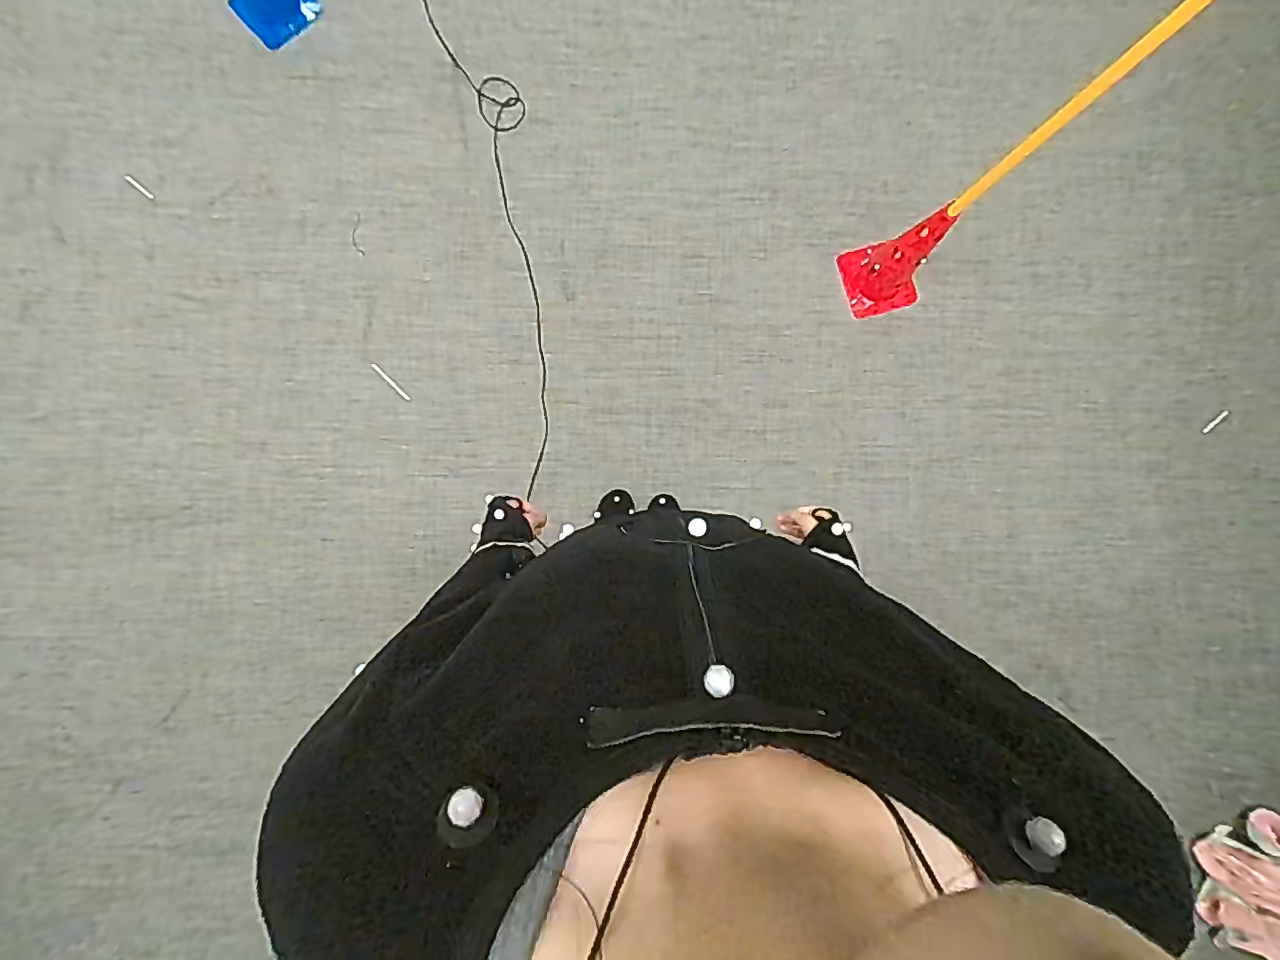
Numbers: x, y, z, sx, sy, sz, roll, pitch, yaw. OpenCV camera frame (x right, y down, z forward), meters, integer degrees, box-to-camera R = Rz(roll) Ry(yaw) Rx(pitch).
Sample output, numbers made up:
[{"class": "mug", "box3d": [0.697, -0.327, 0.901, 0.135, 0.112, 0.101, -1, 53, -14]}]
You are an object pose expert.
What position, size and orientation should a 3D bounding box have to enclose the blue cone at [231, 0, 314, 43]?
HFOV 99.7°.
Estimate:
[{"class": "blue cone", "box3d": [-1.029, -1.345, 1.357, 0.193, 0.380, 0.192, -44, 90, -1]}]
